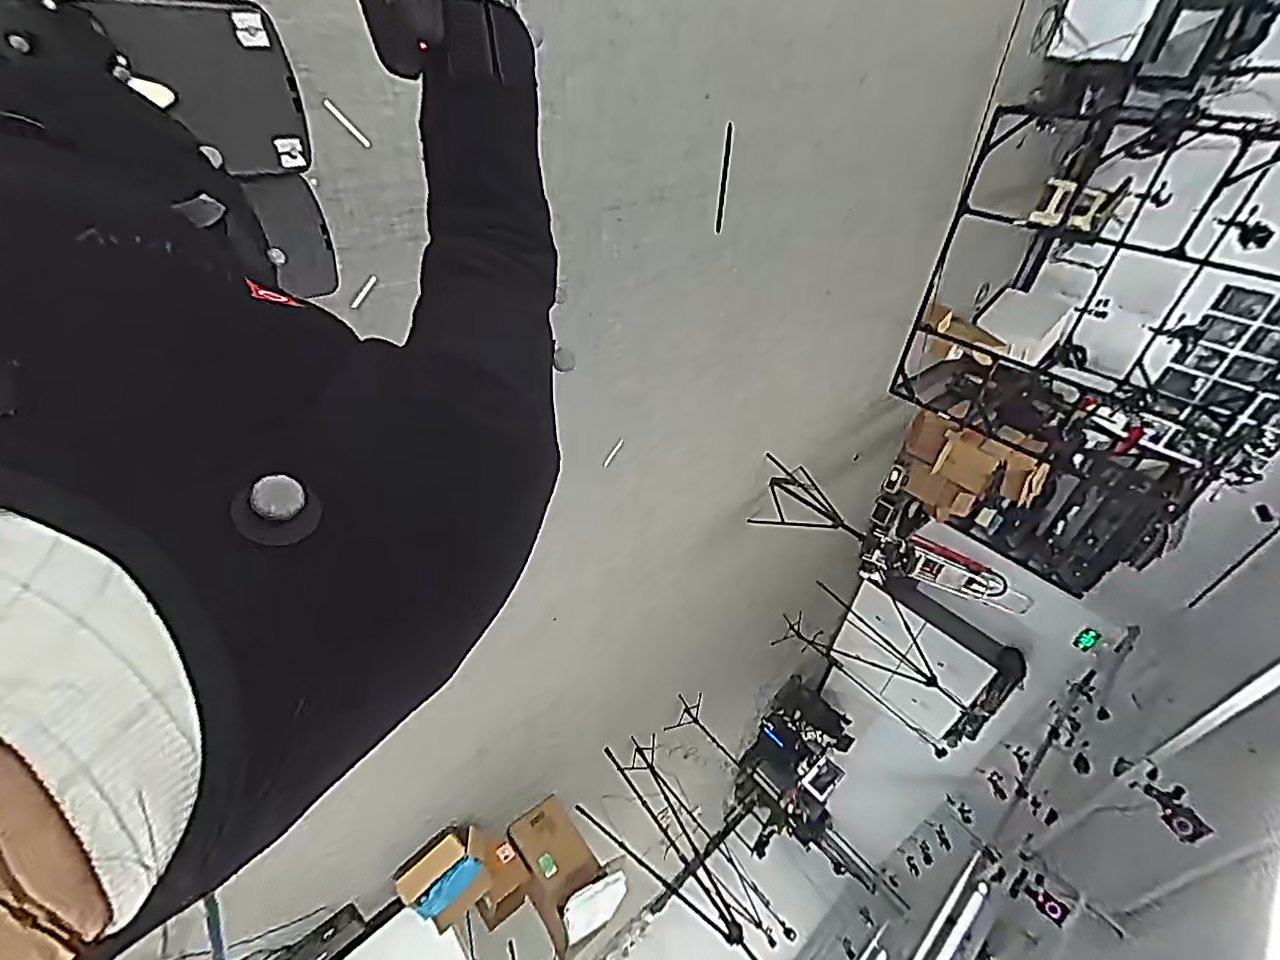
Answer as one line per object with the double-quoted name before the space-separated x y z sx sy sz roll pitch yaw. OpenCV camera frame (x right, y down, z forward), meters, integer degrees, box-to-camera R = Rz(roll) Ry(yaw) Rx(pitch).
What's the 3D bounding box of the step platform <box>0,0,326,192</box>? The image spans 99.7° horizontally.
"step platform" -0.961 -0.709 0.969 0.684 0.204 0.286 -28 139 -32
